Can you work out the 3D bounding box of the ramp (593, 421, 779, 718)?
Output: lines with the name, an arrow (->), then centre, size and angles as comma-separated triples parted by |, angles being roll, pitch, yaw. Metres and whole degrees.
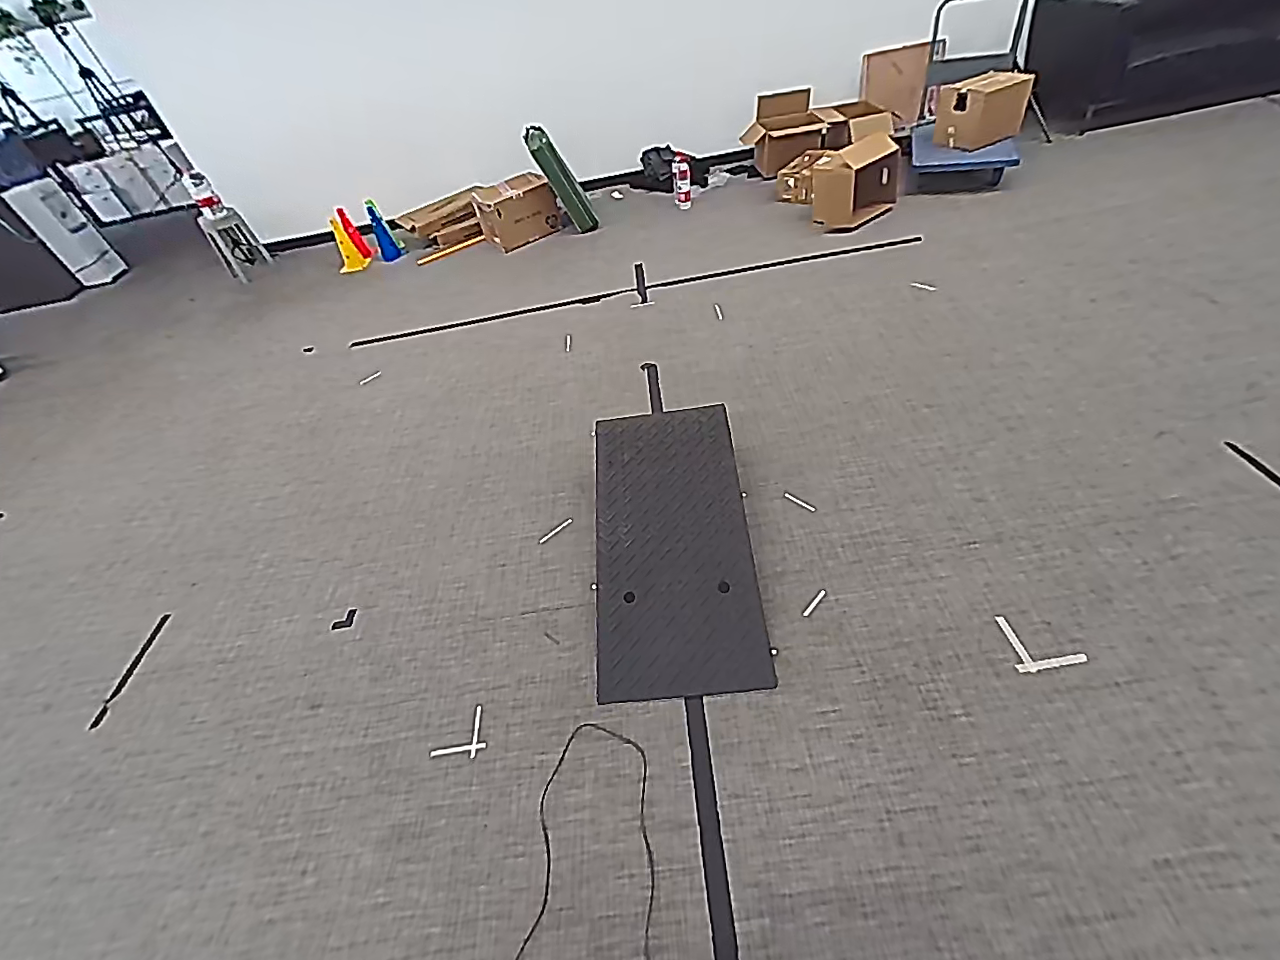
ramp -> 0.101, 0.218, 1.752 | 0.509, 0.206, 0.991 | -9, 44, 3
